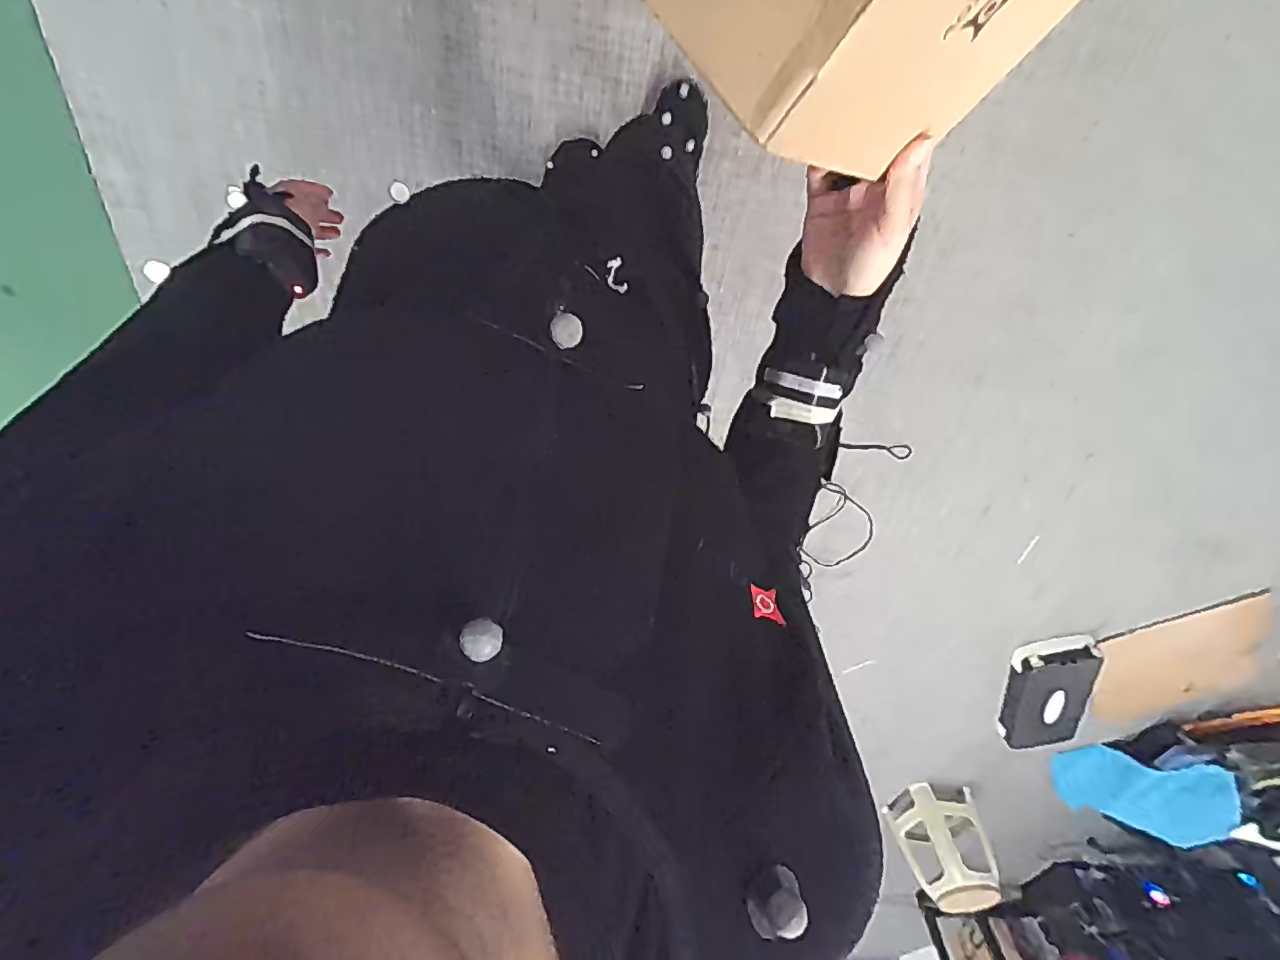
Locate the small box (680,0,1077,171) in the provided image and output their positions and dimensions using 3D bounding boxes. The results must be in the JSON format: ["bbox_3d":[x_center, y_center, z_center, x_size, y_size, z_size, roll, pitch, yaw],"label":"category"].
[{"bbox_3d":[0.113,-0.278,0.242,0.168,0.179,0.176,-42,77,44],"label":"small box"}]
